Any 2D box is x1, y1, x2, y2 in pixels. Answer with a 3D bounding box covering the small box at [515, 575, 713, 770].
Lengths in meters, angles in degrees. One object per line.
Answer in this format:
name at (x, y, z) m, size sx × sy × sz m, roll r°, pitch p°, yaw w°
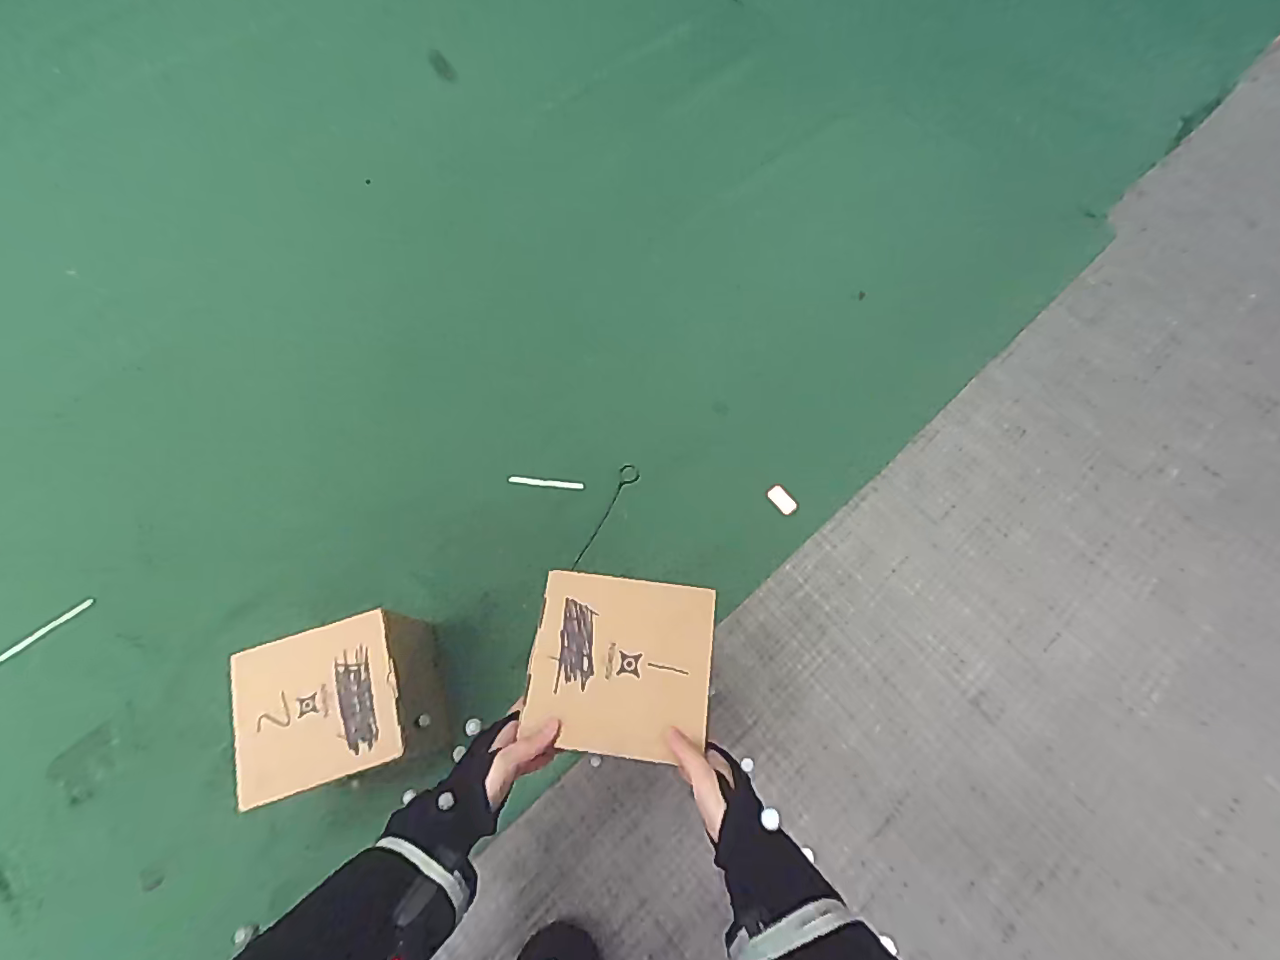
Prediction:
small box at (-0.020, 0.218, 0.605) m, size 0.179 × 0.176 × 0.168 m, roll 7°, pitch 65°, yaw 4°
